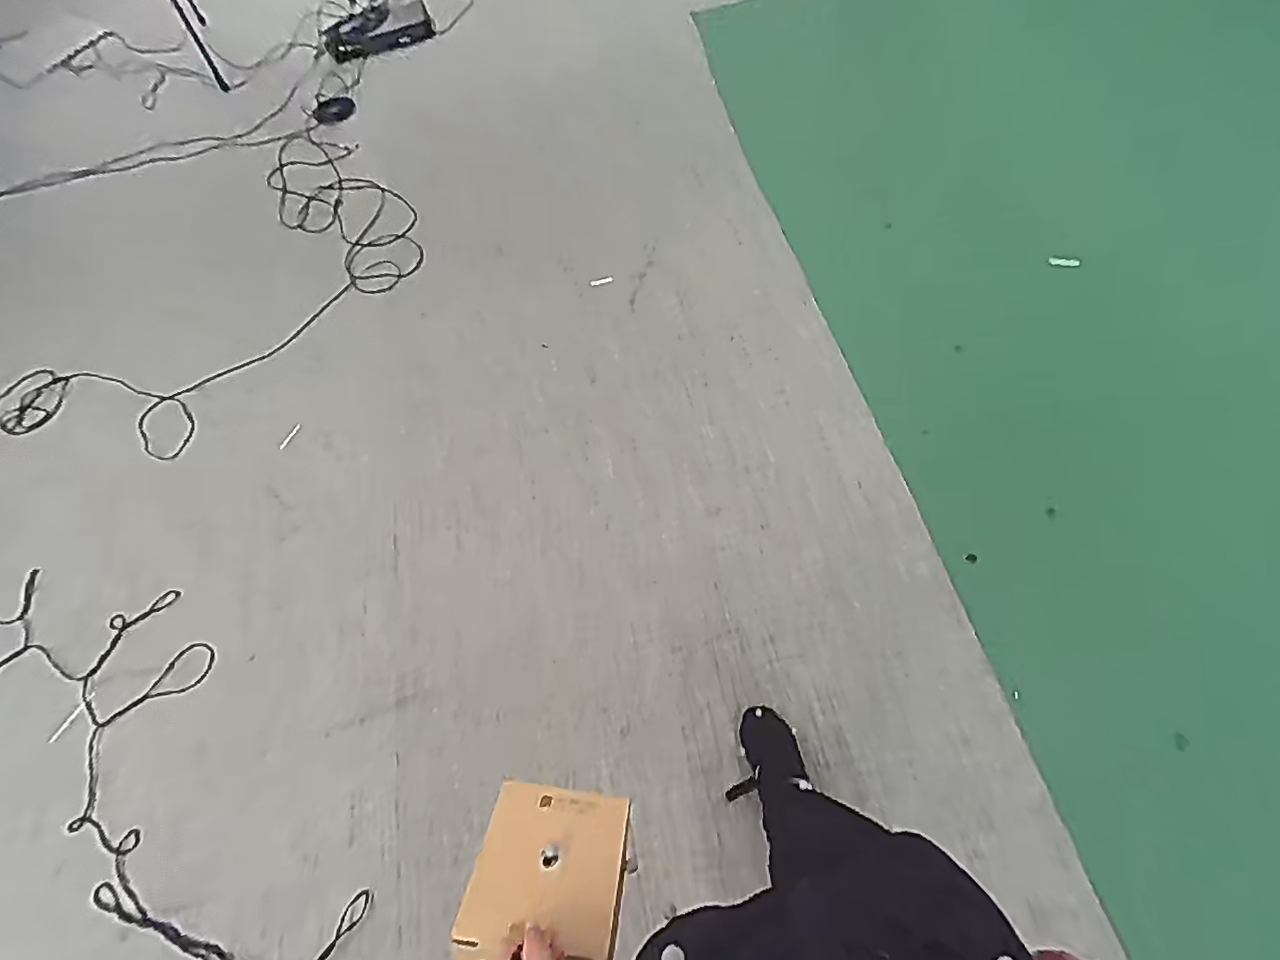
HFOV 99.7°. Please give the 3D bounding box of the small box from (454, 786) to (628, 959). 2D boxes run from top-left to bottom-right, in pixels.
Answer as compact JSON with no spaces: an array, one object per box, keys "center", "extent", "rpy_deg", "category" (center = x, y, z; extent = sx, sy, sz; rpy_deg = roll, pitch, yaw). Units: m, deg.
[{"center":[-0.108,0.506,0.660],"extent":[0.168,0.179,0.176],"rpy_deg":[6,32,4],"category":"small box"}]
